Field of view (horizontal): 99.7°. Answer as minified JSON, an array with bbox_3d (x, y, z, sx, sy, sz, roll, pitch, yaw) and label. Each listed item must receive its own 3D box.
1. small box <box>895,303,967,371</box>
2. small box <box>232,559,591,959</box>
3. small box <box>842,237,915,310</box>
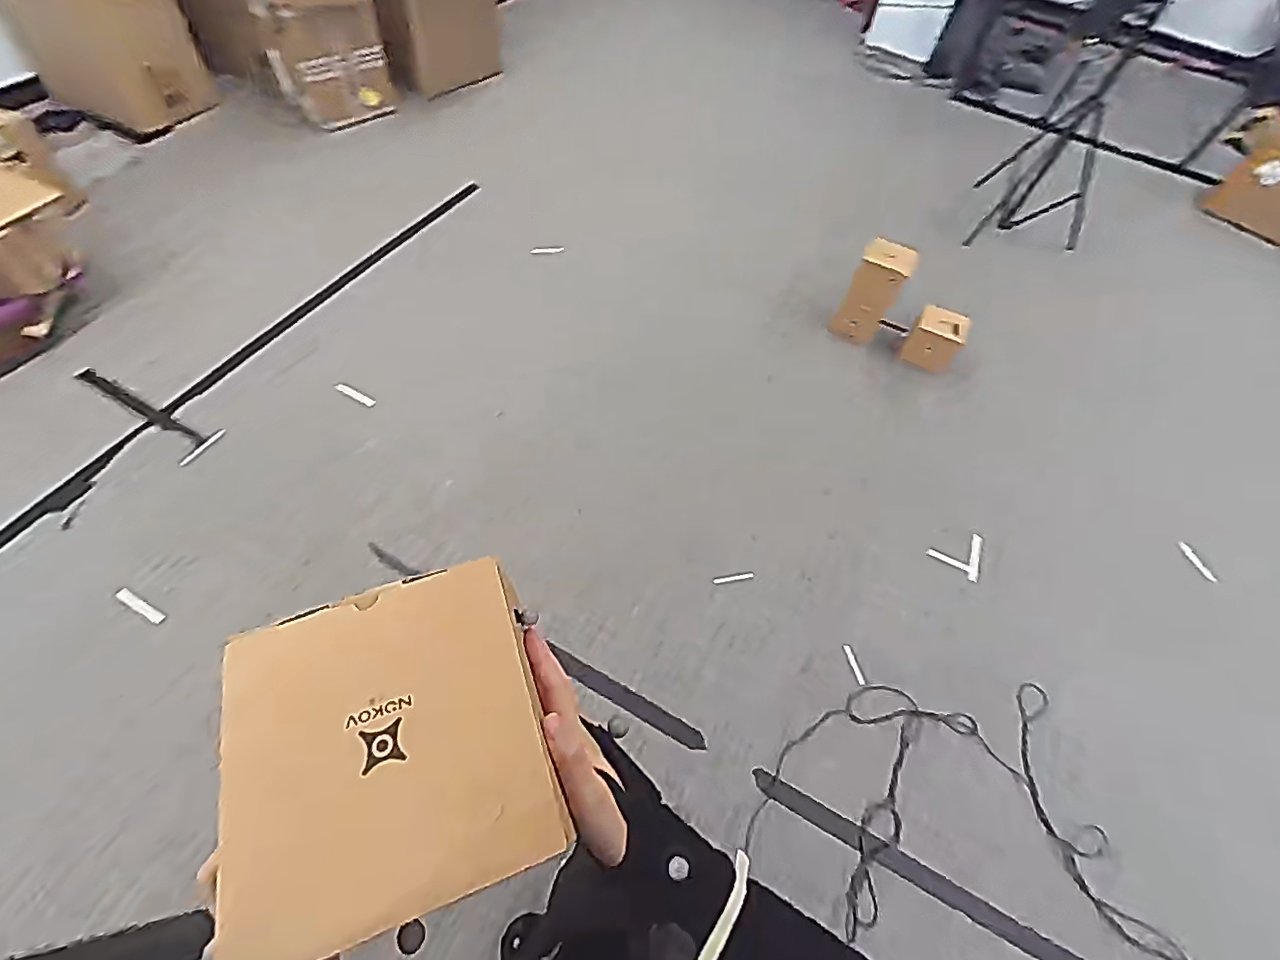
[{"bbox_3d":[1.139,-0.555,2.121,0.179,0.176,0.168,25,59,10],"label":"small box"},{"bbox_3d":[-0.136,0.184,0.367,0.168,0.176,0.179,-16,60,-12],"label":"small box"},{"bbox_3d":[0.894,-0.770,2.032,0.179,0.176,0.168,26,57,10],"label":"small box"}]
